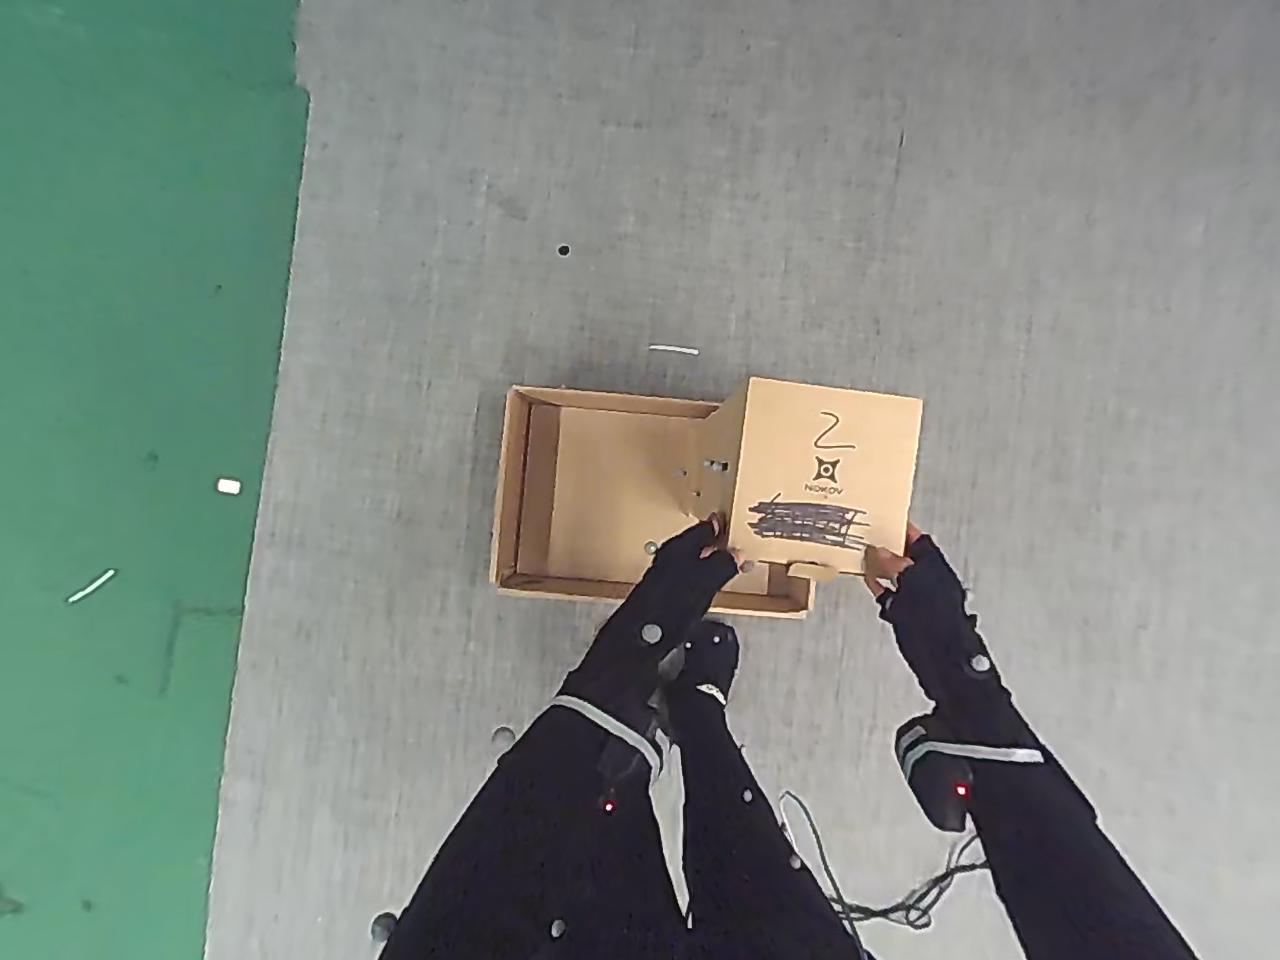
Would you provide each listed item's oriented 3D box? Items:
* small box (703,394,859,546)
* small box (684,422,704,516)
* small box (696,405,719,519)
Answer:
[{"bbox_3d":[0.182,-0.013,0.749,0.168,0.176,0.179,6,90,0],"label":"small box"},{"bbox_3d":[0.174,-0.021,1.078,0.168,0.176,0.179,1,89,2],"label":"small box"},{"bbox_3d":[0.186,-0.021,0.896,0.168,0.176,0.179,5,90,1],"label":"small box"}]
